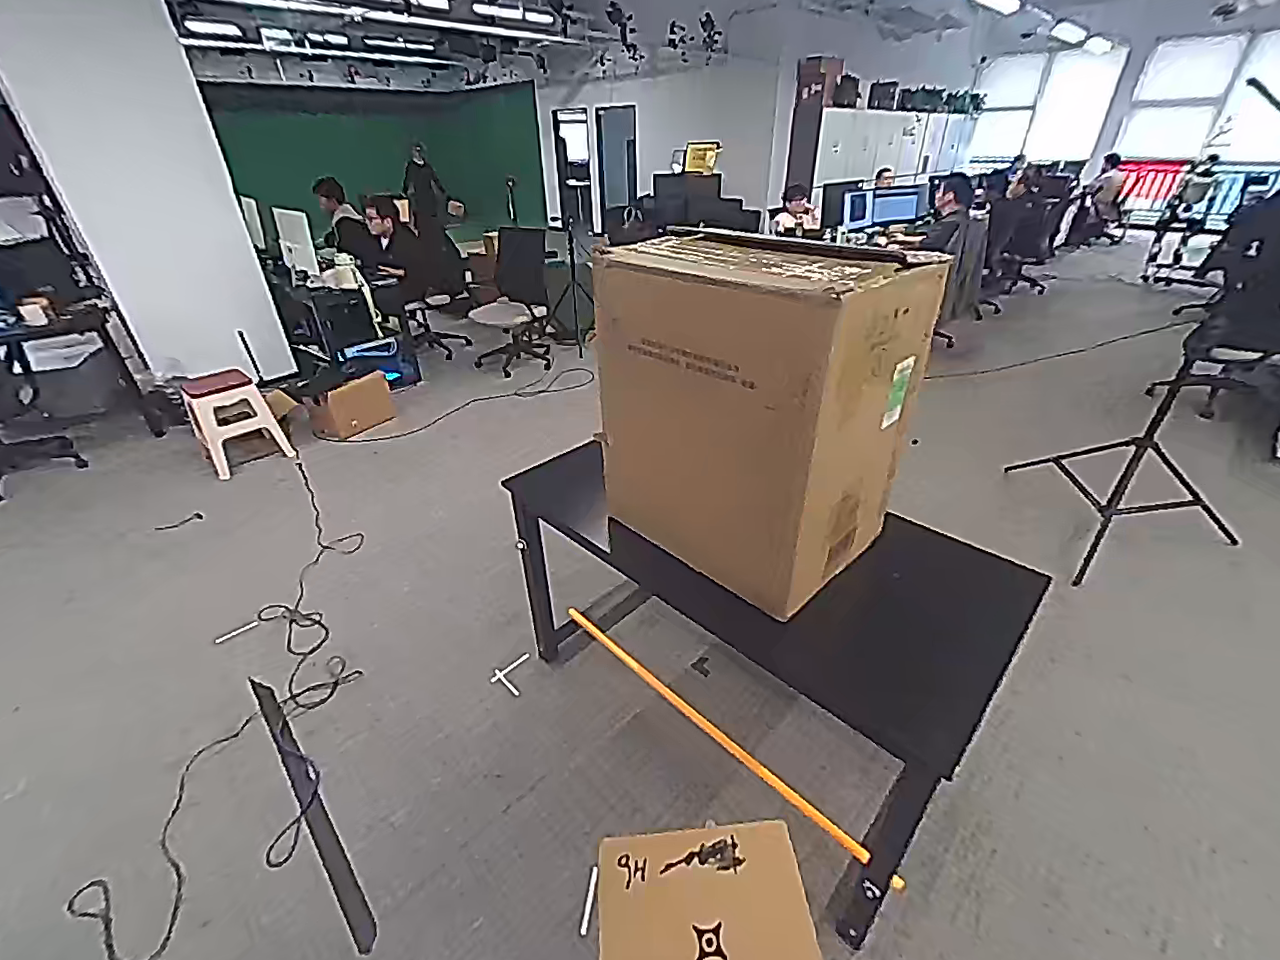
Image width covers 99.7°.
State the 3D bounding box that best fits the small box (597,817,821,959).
[{"bbox_3d":[0.055,0.413,0.444,0.168,0.176,0.179,-5,37,-2],"label":"small box"}]
